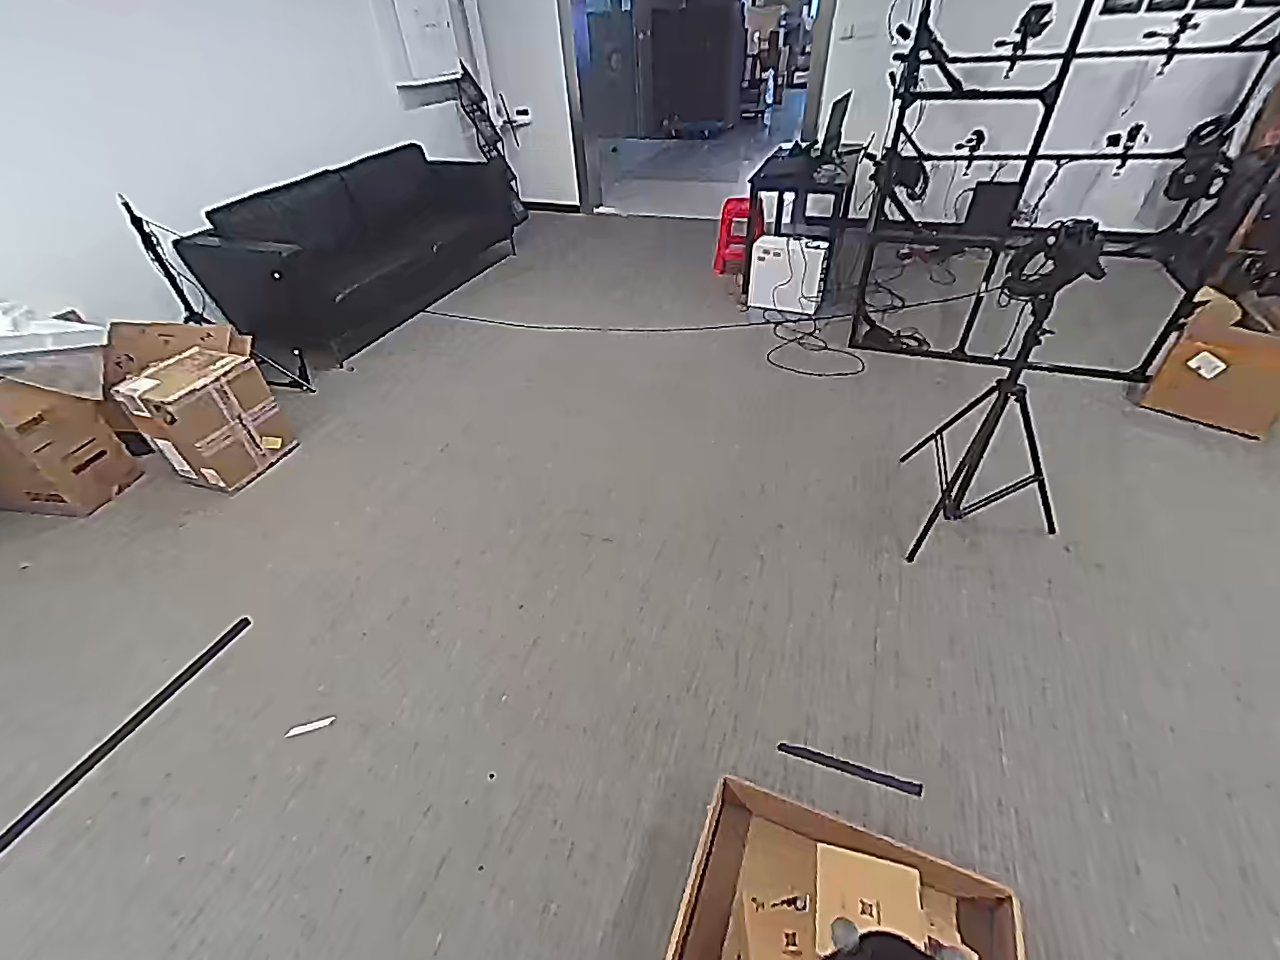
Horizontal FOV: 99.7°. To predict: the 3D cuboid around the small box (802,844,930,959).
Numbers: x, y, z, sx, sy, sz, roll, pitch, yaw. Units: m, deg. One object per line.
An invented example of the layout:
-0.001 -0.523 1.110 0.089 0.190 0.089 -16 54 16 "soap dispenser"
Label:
0.393 0.788 0.959 0.179 0.176 0.168 7 40 14 "small box"
